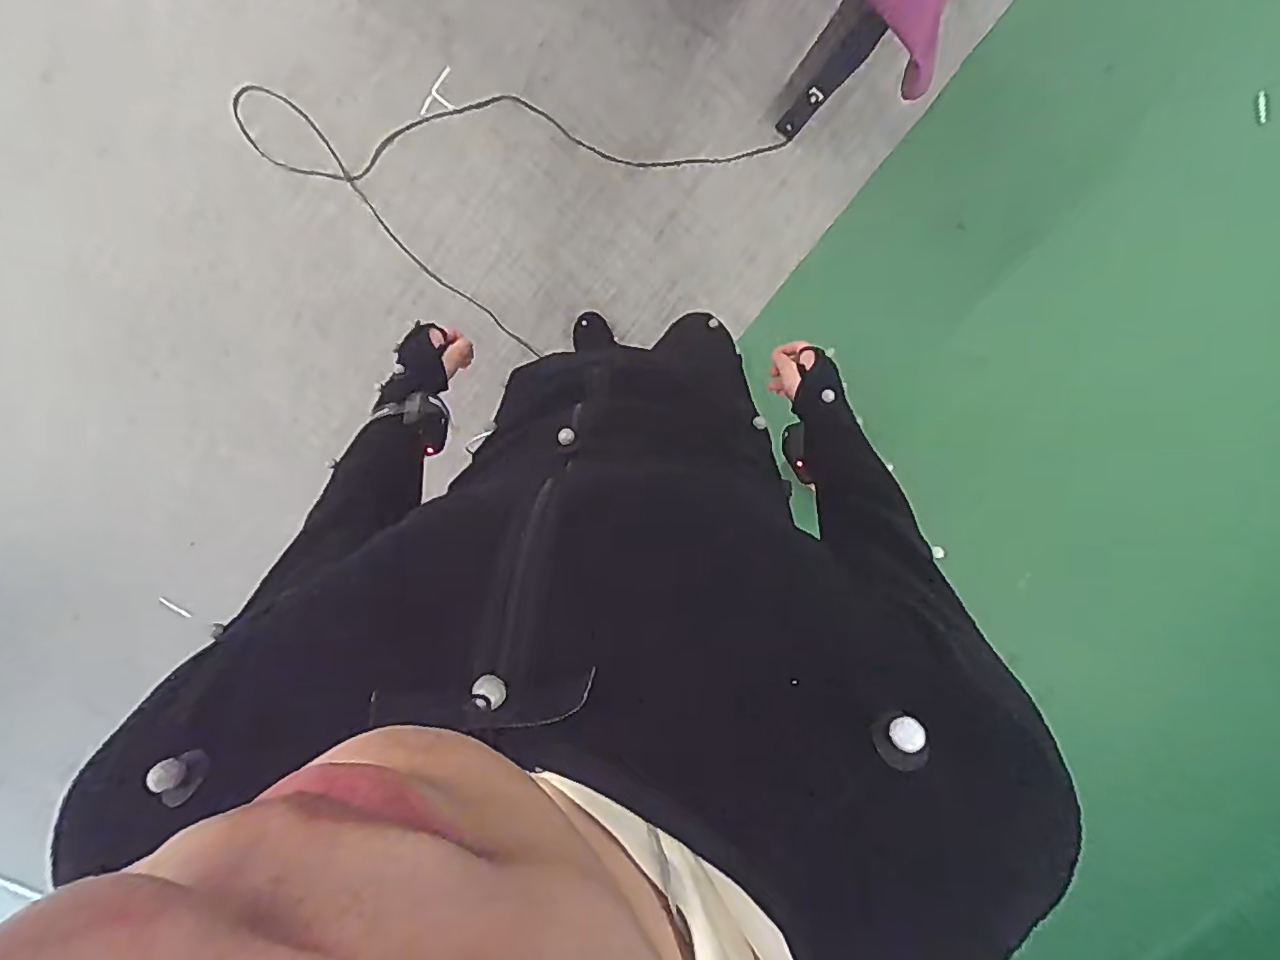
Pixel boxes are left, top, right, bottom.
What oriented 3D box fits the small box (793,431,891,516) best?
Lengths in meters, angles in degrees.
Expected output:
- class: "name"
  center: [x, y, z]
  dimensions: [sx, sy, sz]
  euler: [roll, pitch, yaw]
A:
- class: "small box"
  center: [0.580, -0.027, 1.579]
  dimensions: [0.179, 0.176, 0.168]
  euler: [34, 103, -12]
